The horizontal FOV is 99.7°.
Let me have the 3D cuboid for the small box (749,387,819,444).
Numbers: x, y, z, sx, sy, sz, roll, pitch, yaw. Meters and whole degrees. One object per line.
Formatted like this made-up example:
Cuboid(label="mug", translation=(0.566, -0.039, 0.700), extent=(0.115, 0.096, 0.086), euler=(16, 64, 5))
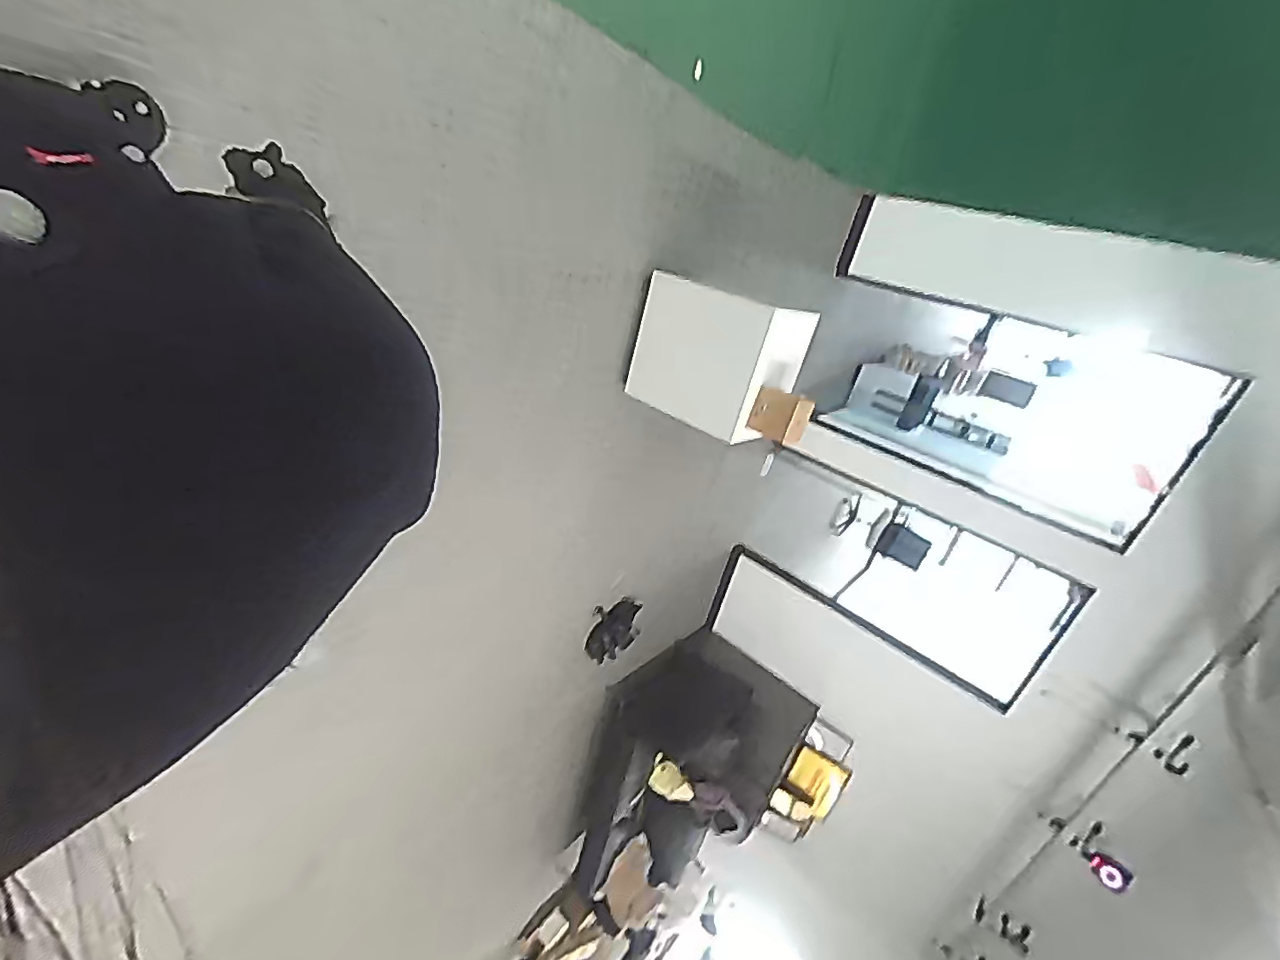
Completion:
Cuboid(label="small box", translation=(0.543, -0.247, 2.047), extent=(0.179, 0.176, 0.168), euler=(-8, 121, -51))
